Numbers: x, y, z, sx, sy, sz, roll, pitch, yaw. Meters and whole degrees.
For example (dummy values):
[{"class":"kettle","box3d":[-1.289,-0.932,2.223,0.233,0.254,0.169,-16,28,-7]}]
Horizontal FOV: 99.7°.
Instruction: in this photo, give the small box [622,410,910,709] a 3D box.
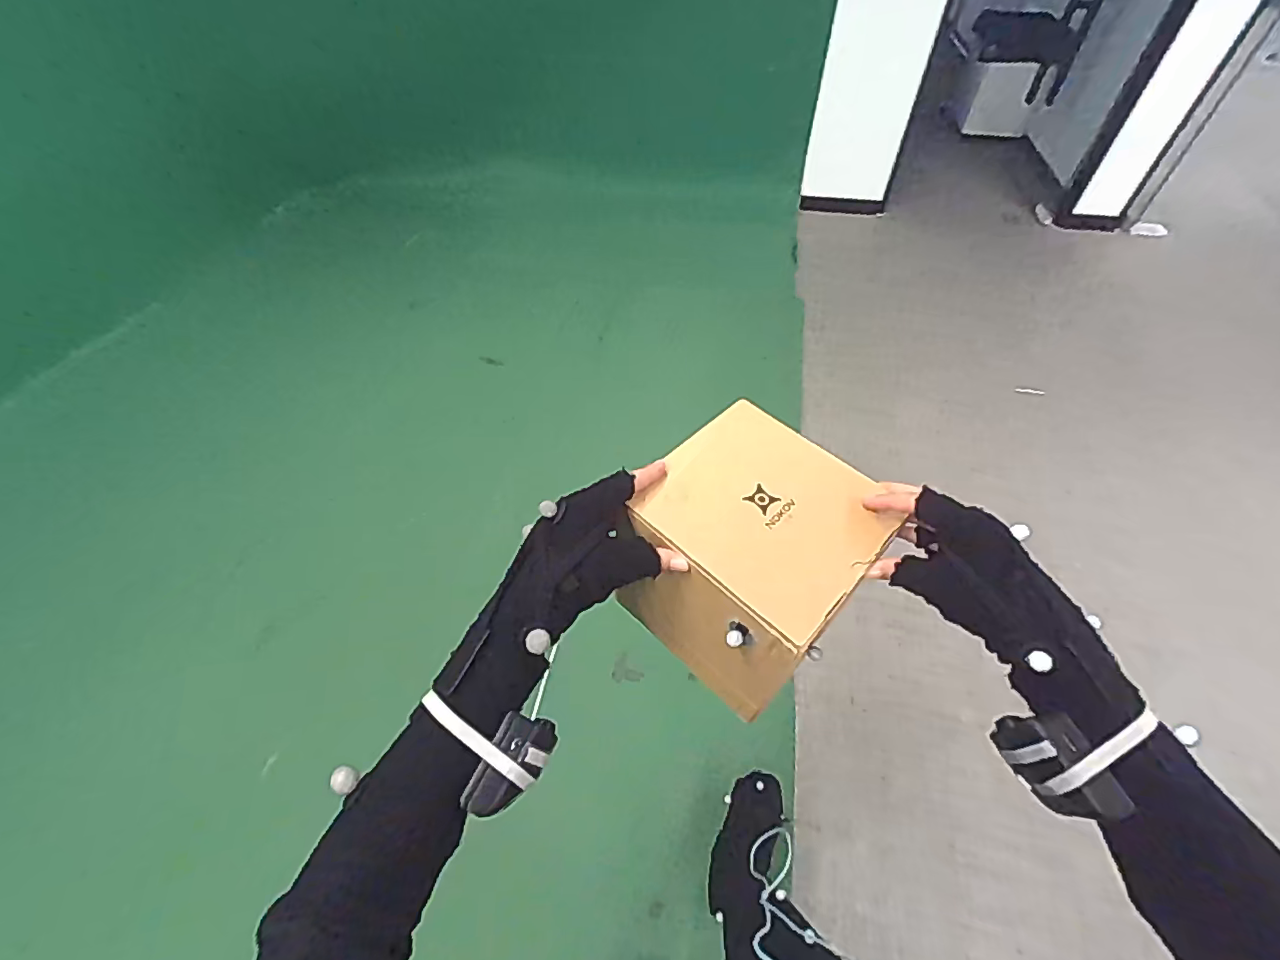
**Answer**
[{"class":"small box","box3d":[0.097,0.074,0.495,0.168,0.176,0.179,-36,62,-29]}]
